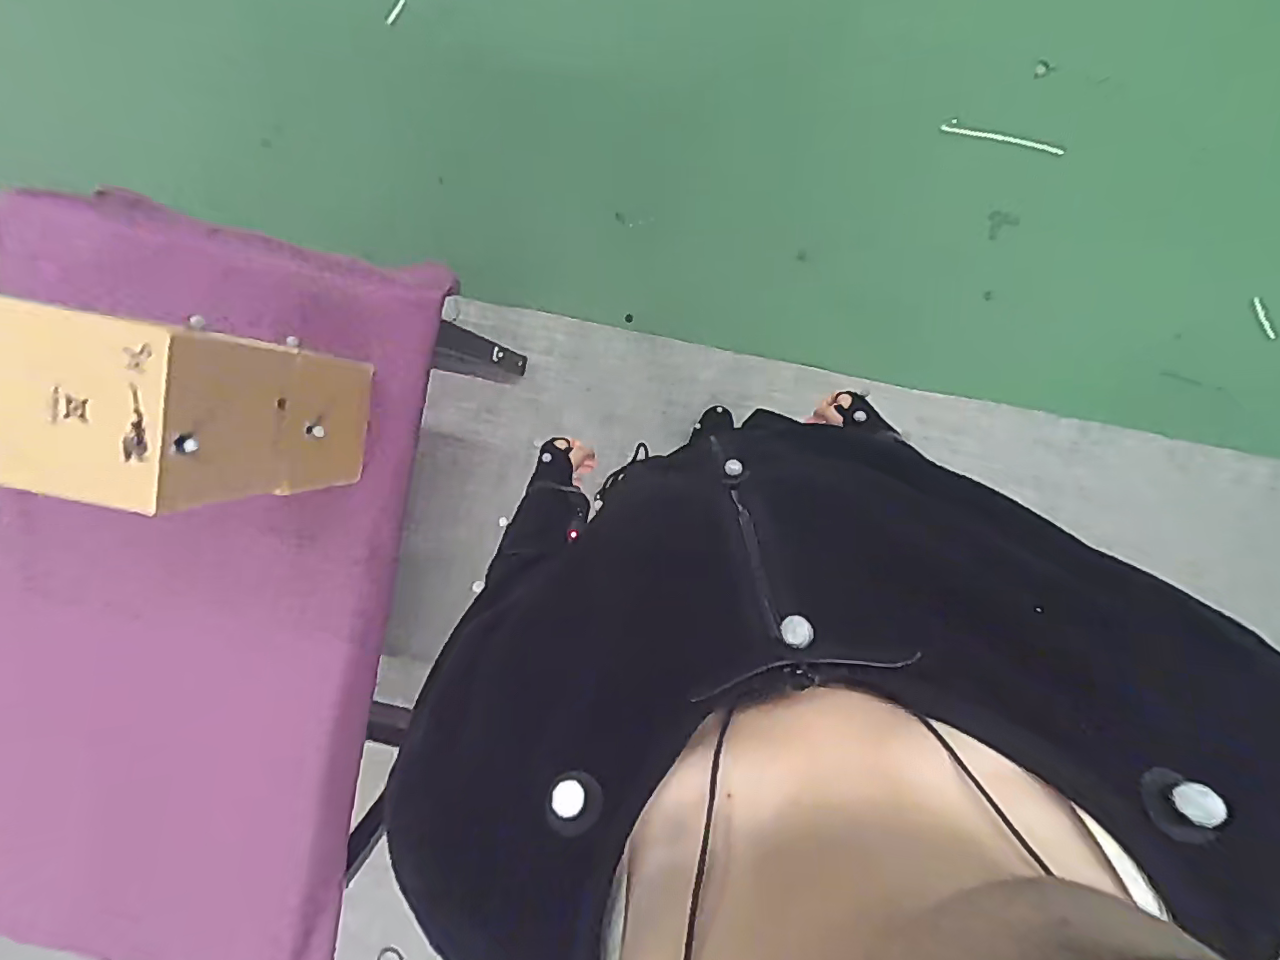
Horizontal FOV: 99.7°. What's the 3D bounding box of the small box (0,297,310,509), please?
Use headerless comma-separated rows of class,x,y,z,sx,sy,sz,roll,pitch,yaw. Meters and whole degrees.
small box,-0.492,-0.079,0.568,0.179,0.176,0.168,12,99,3

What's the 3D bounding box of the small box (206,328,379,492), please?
small box,-0.479,-0.095,0.731,0.168,0.176,0.179,11,98,2

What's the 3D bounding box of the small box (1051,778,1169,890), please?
small box,1.212,0.909,1.403,0.168,0.176,0.179,3,96,5
